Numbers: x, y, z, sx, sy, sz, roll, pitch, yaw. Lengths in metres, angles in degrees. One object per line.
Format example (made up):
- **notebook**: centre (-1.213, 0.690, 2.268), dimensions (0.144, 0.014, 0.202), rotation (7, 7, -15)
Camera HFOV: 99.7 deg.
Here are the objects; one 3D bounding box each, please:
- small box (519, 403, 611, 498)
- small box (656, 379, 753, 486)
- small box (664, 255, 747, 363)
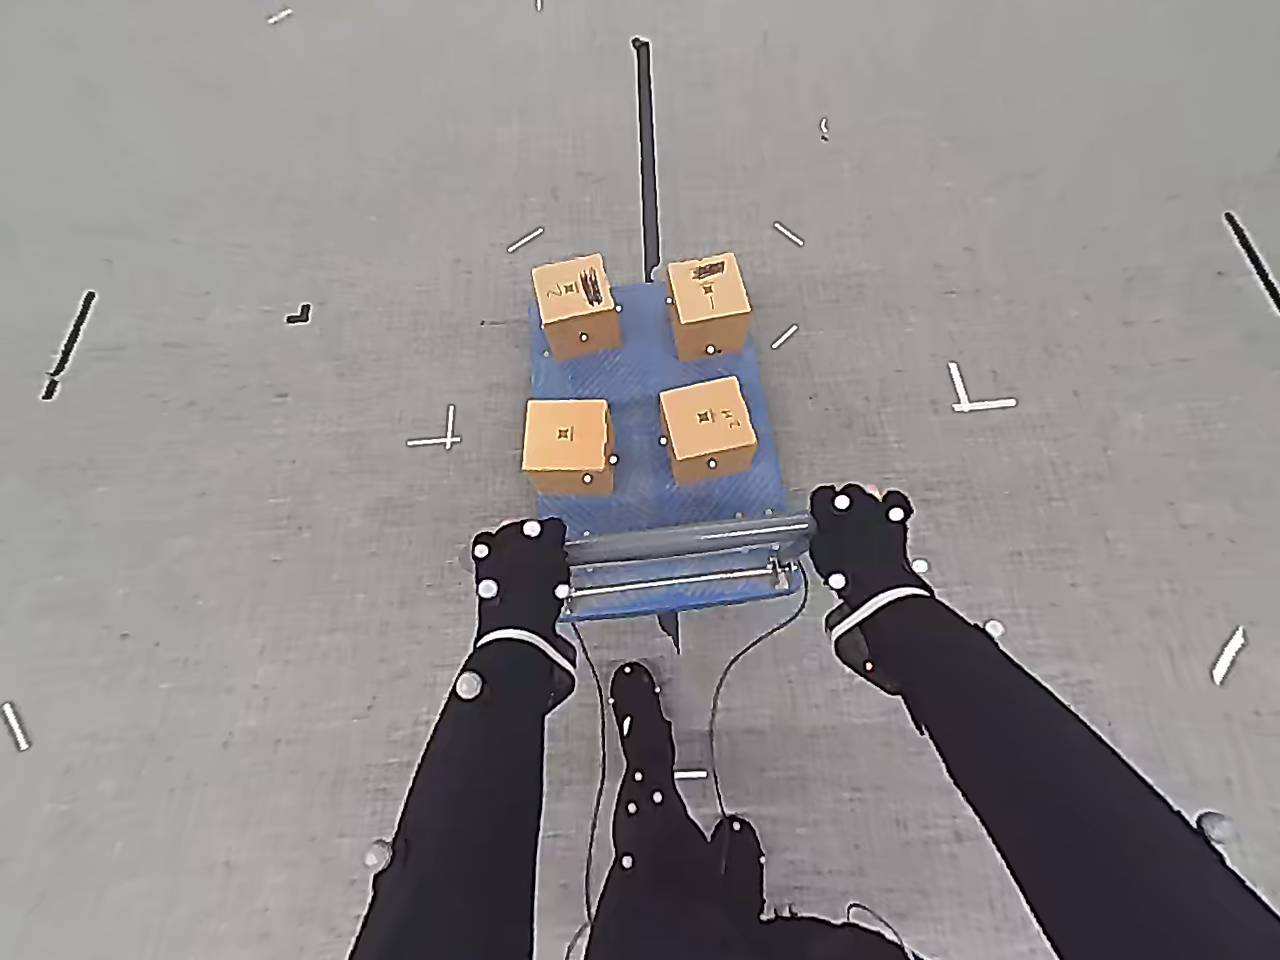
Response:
- **small box**: centre (-0.161, -0.061, 1.220), dimensions (0.179, 0.176, 0.168), rotation (-1, 69, 1)
- **small box**: centre (0.141, -0.099, 1.216), dimensions (0.179, 0.176, 0.168), rotation (-13, 70, -1)
- **small box**: centre (0.154, -0.416, 1.332), dimensions (0.168, 0.176, 0.179), rotation (-11, 70, -1)
